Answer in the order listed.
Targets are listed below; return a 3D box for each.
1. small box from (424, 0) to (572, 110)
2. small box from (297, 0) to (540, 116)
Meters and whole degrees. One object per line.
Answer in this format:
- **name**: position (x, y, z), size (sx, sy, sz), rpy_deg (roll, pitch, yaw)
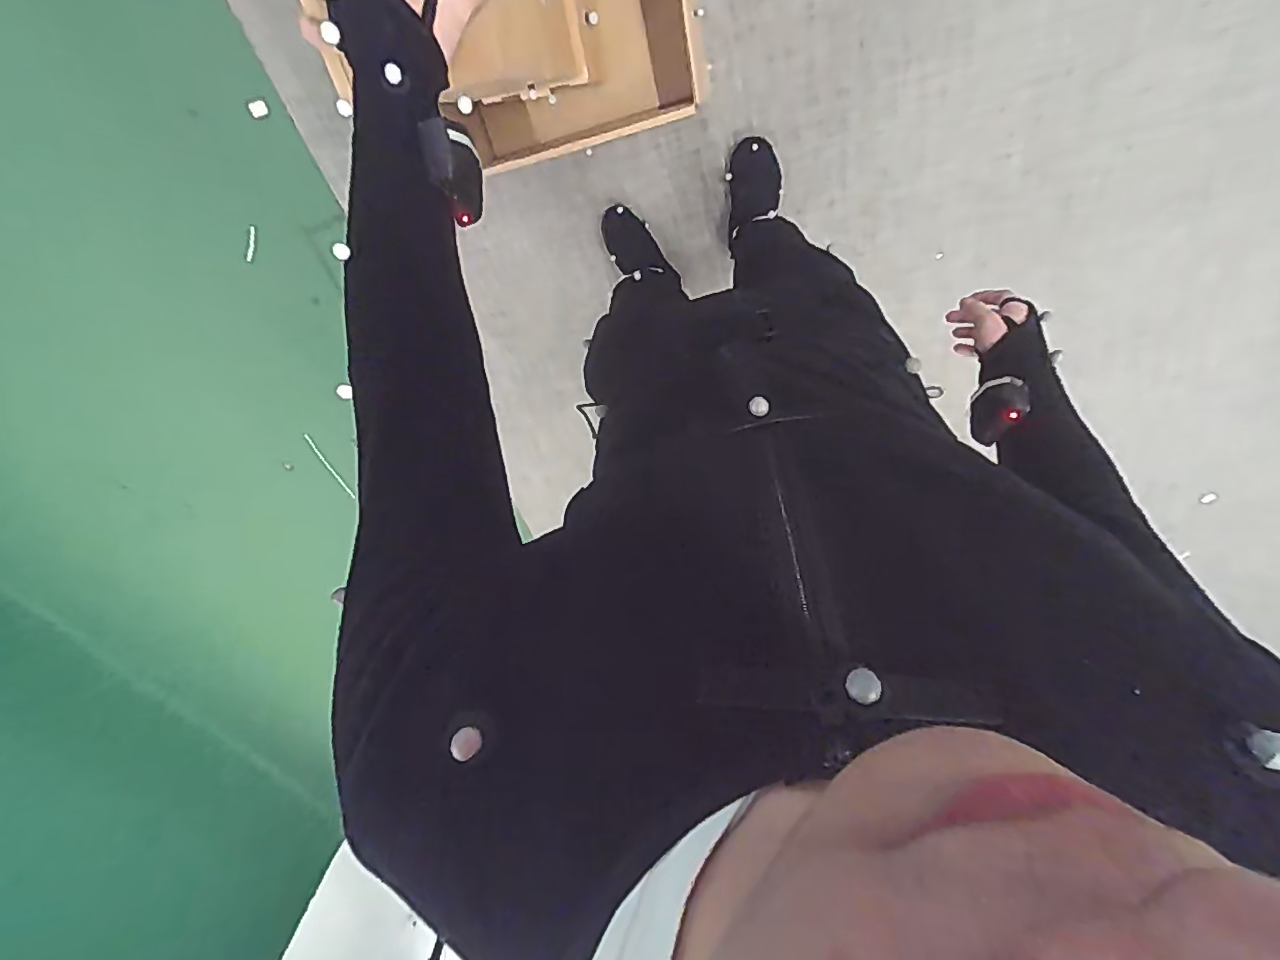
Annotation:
- **small box**: position (-0.191, -0.570, 0.654), size (0.168, 0.176, 0.179), rpy_deg (-3, 125, 10)
- **small box**: position (-0.211, -0.473, 0.524), size (0.168, 0.176, 0.179), rpy_deg (-4, 126, 11)
